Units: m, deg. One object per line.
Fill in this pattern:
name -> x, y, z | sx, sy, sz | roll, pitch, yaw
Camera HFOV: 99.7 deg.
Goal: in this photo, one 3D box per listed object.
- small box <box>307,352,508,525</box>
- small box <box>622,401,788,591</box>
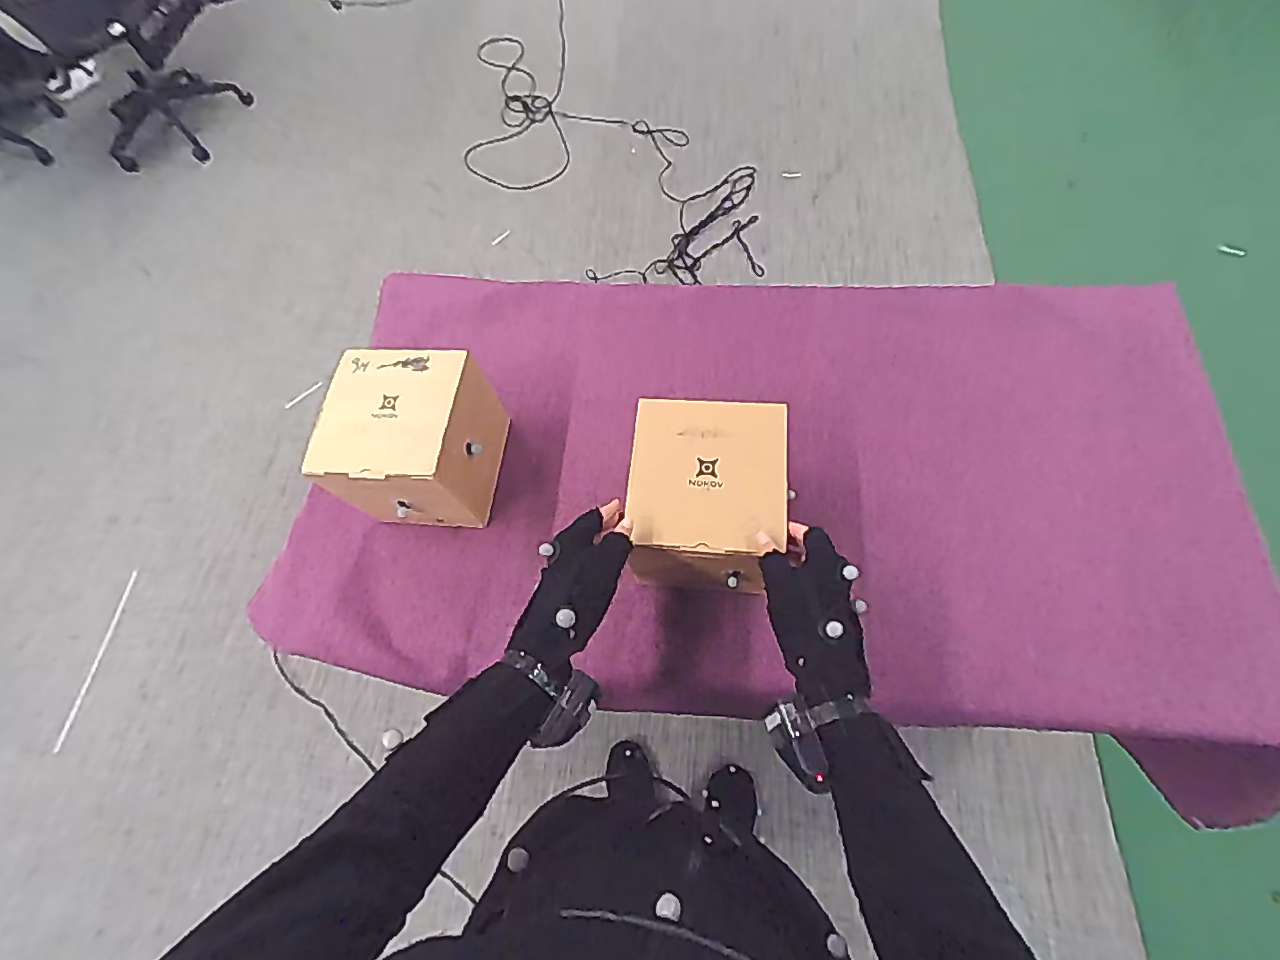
small box -> -0.287, -0.047, 0.714 | 0.168, 0.176, 0.179 | 3, 66, 7
small box -> 0.080, 0.026, 0.640 | 0.168, 0.176, 0.179 | 4, 66, 8
